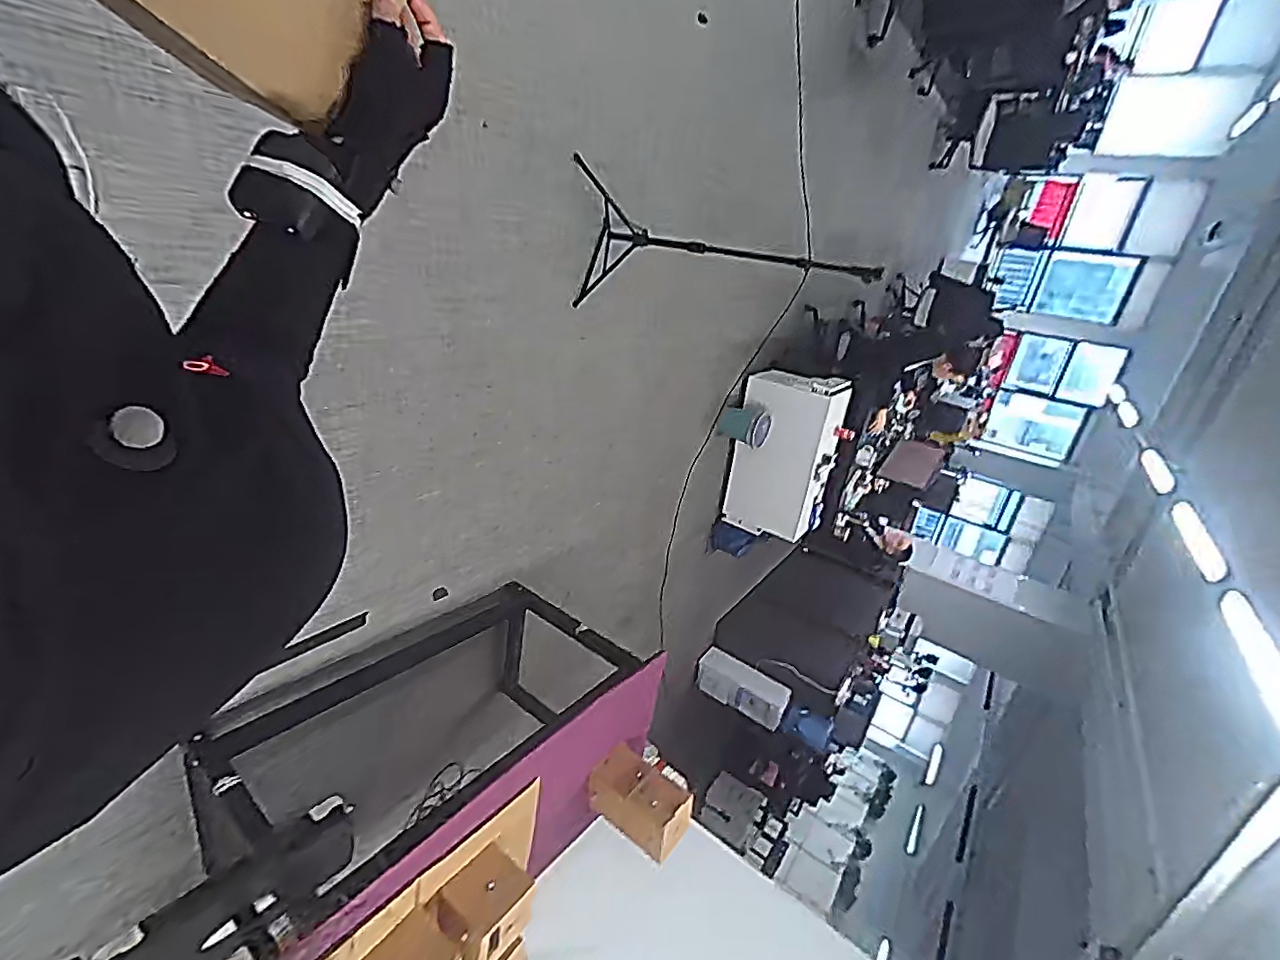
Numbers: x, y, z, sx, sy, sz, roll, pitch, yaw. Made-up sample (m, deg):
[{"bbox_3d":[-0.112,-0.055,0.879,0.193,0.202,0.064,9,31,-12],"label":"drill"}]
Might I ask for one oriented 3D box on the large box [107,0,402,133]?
[{"bbox_3d":[-0.377,-0.531,0.346,0.320,0.320,0.408,-55,149,6],"label":"large box"}]
